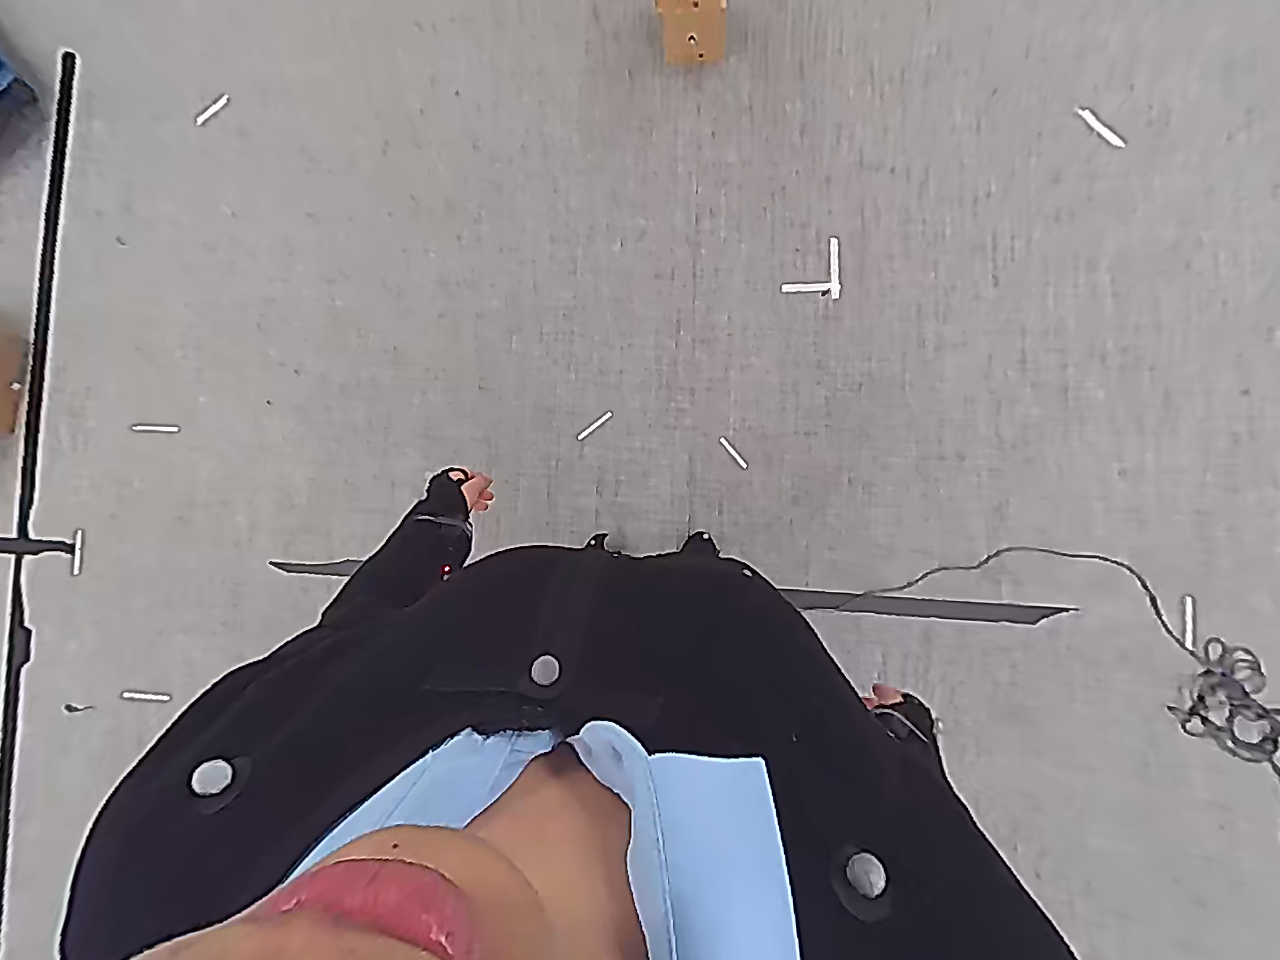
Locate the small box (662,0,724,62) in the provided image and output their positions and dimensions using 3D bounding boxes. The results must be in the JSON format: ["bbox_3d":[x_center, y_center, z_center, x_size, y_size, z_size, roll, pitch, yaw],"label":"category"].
[{"bbox_3d":[0.148,-1.296,1.493,0.168,0.176,0.179,0,86,5],"label":"small box"}]

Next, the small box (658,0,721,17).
[{"bbox_3d":[0.127,-1.301,1.331,0.168,0.176,0.179,7,88,6],"label":"small box"}]
